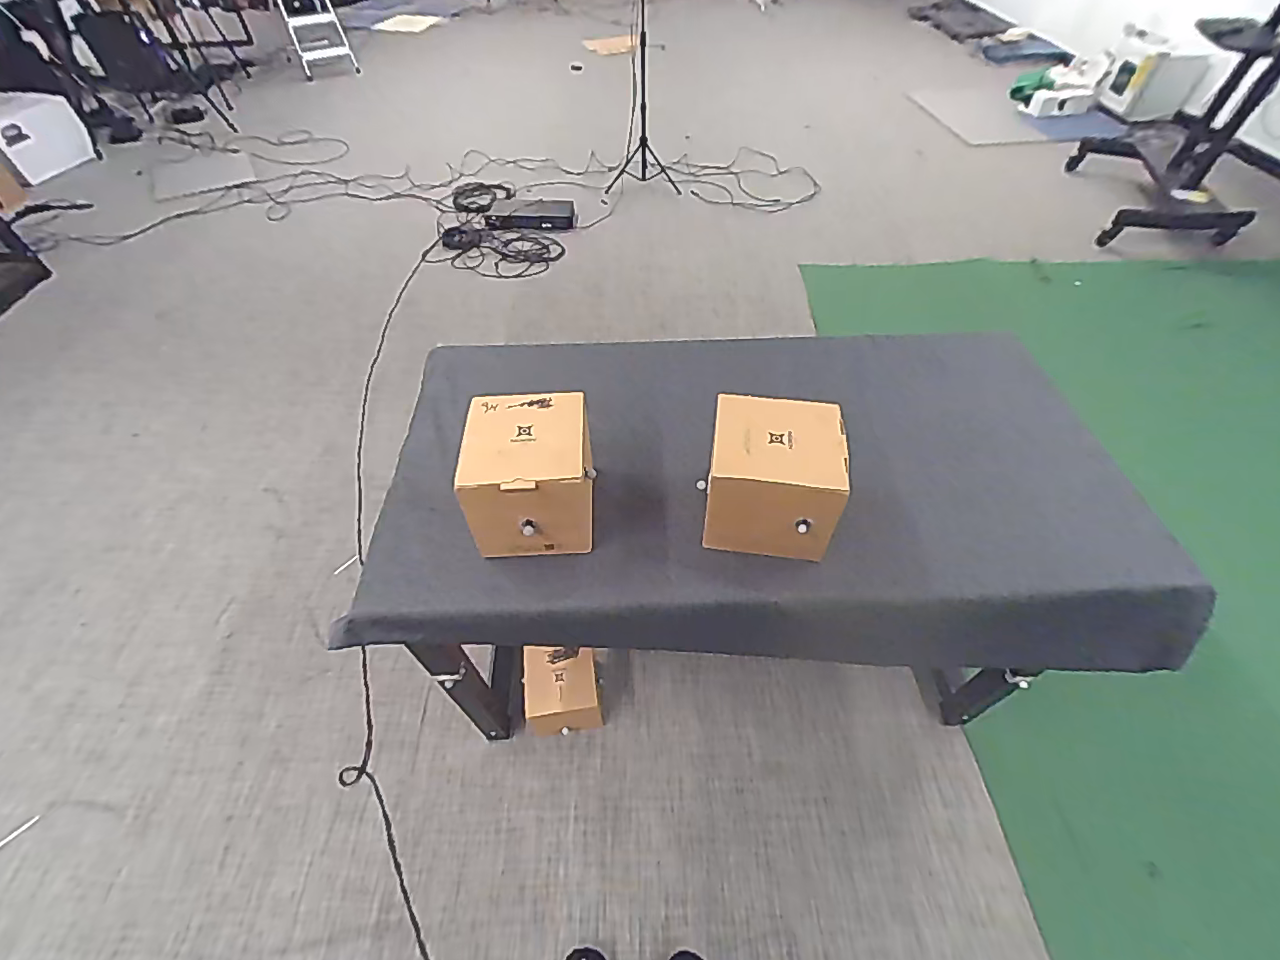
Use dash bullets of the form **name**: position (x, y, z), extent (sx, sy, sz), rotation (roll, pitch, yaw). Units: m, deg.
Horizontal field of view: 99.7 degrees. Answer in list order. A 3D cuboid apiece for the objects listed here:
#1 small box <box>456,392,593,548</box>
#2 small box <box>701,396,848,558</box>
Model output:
- **small box**: position (-0.158, -0.009, 0.804), extent (0.168, 0.176, 0.179), rotation (-2, 50, -2)
- **small box**: position (0.189, -0.001, 0.801), extent (0.179, 0.176, 0.168), rotation (5, 49, 6)
